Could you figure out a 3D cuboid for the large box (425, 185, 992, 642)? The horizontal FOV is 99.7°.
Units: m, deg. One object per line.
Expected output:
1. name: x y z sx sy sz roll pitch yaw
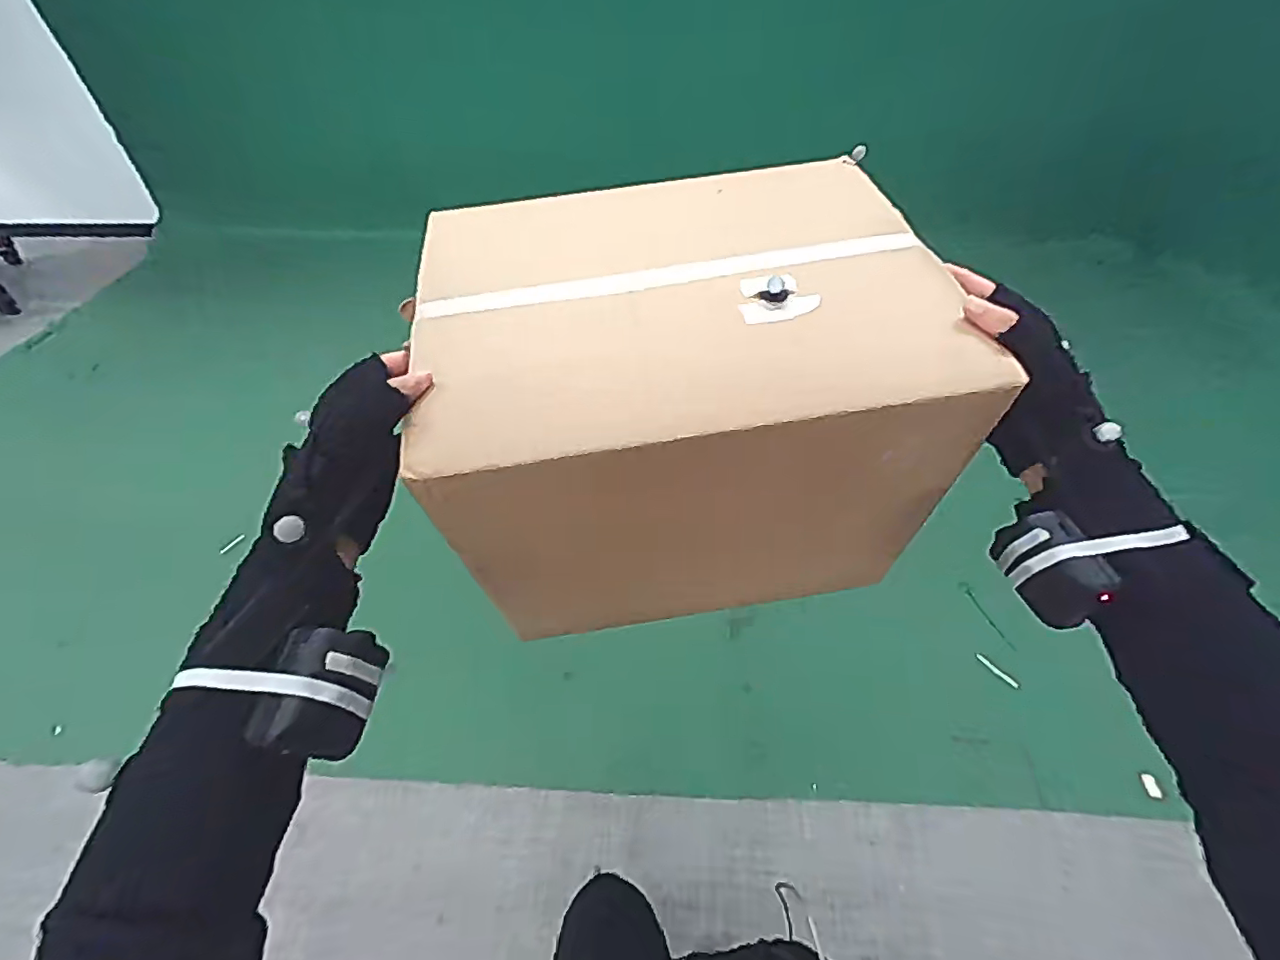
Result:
1. large box: 0.033 -0.060 0.568 0.408 0.320 0.320 -9 55 -4
